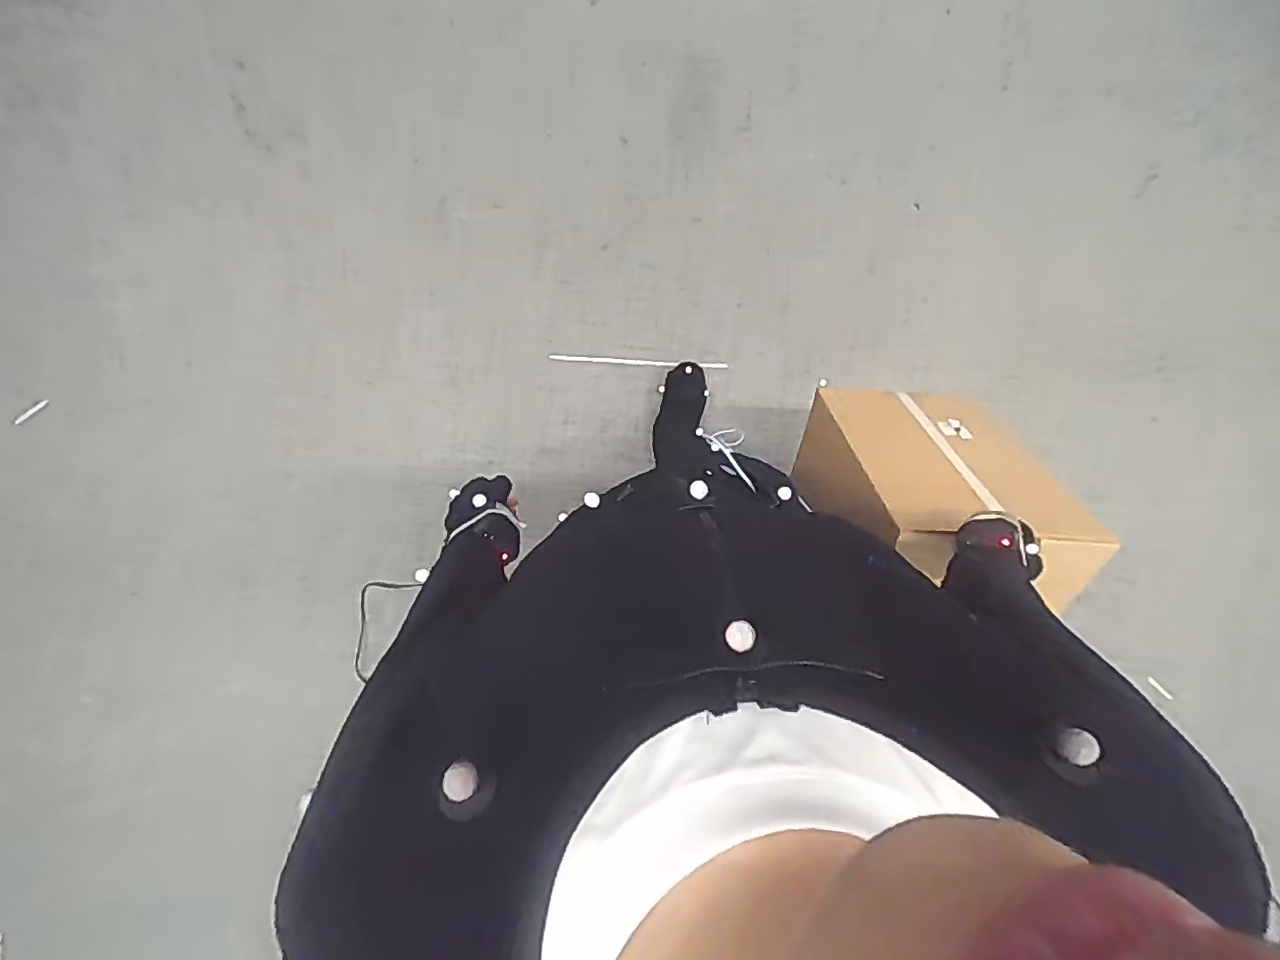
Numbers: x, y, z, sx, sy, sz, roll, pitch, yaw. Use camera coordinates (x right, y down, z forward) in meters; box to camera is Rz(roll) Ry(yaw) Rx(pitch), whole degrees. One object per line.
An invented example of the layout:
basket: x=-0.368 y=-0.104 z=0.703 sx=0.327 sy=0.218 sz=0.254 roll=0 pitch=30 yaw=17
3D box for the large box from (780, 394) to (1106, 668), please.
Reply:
large box: x=0.477 y=0.079 z=0.977 sx=0.320 sy=0.408 sz=0.320 roll=4 pitch=125 yaw=-4
